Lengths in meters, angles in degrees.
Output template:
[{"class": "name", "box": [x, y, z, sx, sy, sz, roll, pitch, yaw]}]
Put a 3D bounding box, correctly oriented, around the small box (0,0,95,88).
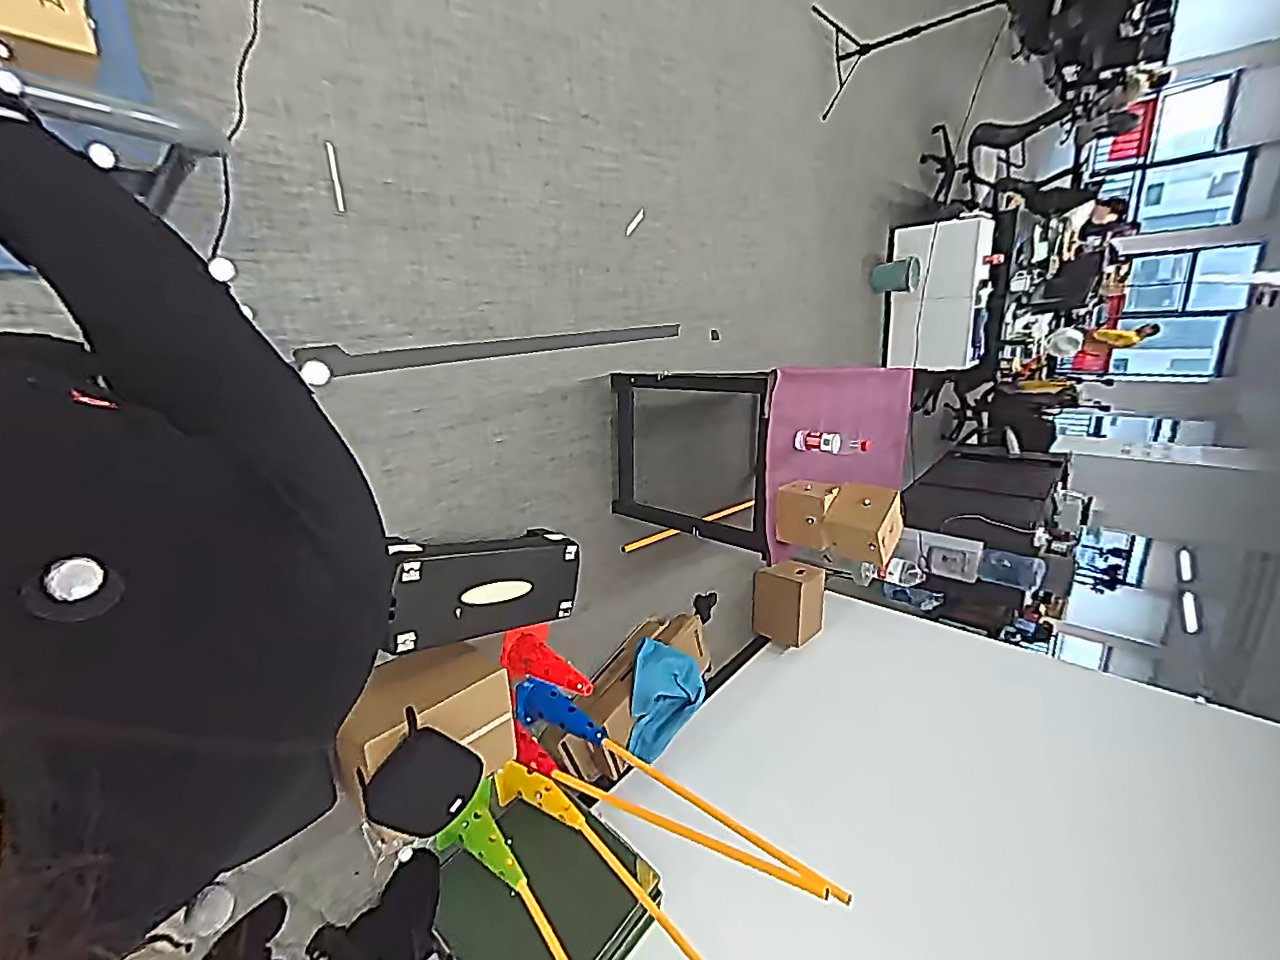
[{"class": "small box", "box": [-0.902, -0.682, 0.752, 0.179, 0.176, 0.168, -18, 112, -45]}]
